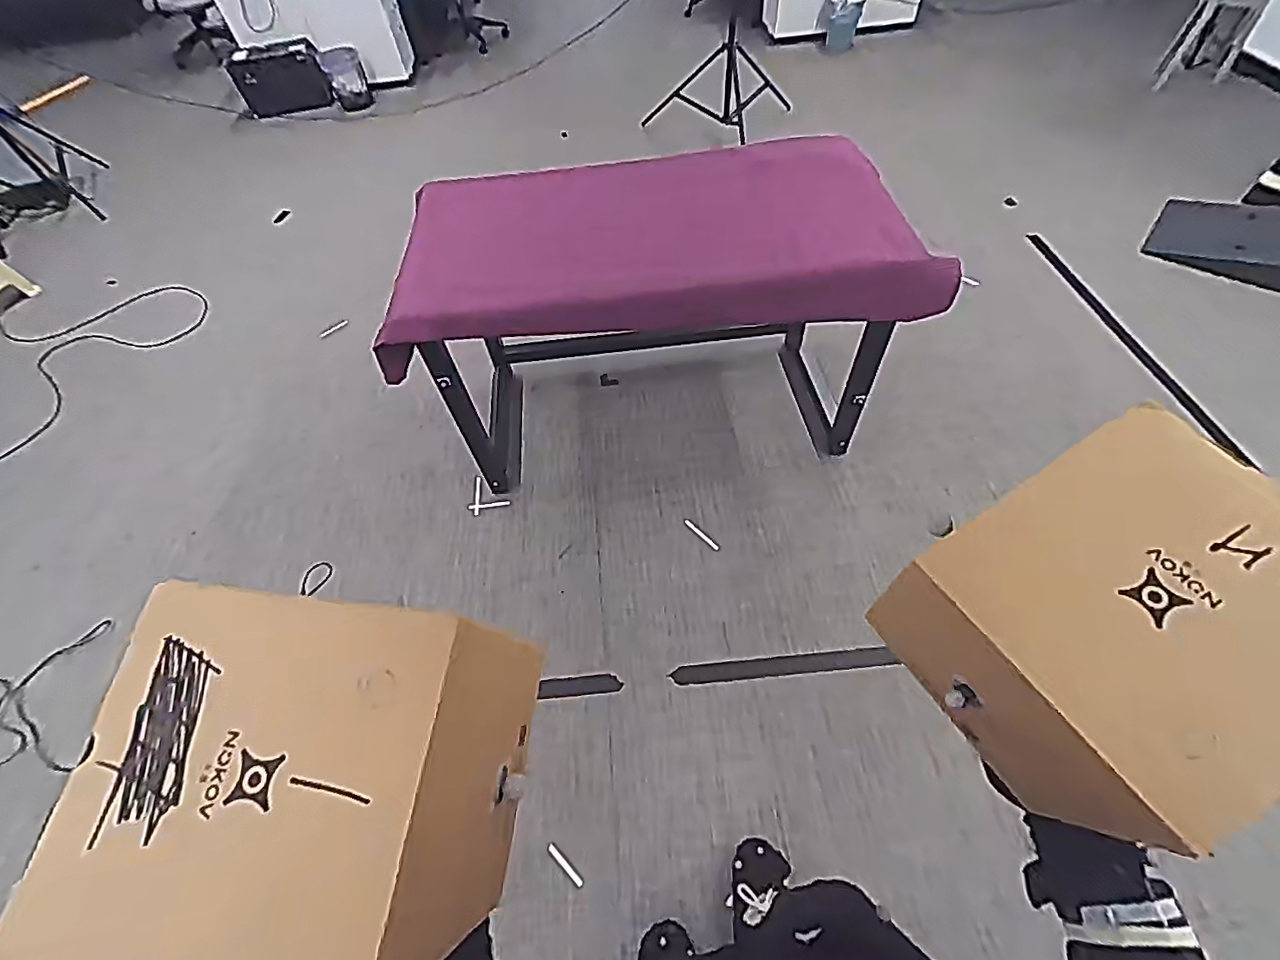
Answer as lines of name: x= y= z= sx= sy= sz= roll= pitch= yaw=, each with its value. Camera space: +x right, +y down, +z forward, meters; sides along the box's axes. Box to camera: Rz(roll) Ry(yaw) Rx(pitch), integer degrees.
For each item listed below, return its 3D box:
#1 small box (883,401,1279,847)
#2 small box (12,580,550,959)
small box: x=0.284 y=0.091 z=0.348 sx=0.179 sy=0.176 sz=0.168 roll=-34 pitch=63 yaw=-5
small box: x=-0.169 y=0.167 z=0.325 sx=0.179 sy=0.176 sz=0.168 roll=5 pitch=68 yaw=7
